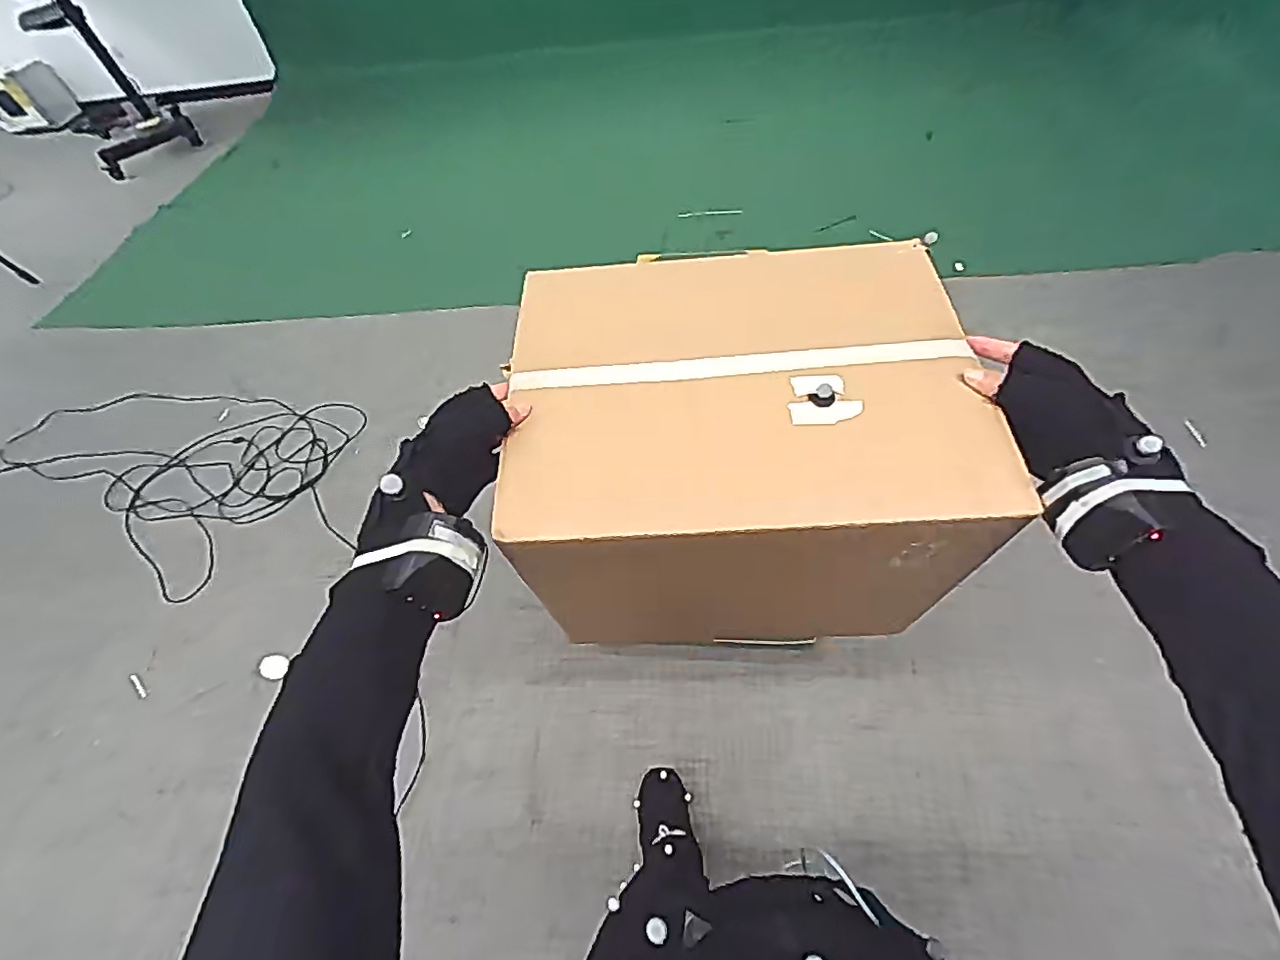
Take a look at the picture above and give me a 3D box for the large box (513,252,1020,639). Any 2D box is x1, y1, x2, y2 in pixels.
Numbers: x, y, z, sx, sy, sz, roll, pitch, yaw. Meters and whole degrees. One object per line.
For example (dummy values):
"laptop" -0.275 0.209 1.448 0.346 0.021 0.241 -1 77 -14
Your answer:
"large box" 0.099 -0.019 0.623 0.408 0.320 0.320 -3 59 3
